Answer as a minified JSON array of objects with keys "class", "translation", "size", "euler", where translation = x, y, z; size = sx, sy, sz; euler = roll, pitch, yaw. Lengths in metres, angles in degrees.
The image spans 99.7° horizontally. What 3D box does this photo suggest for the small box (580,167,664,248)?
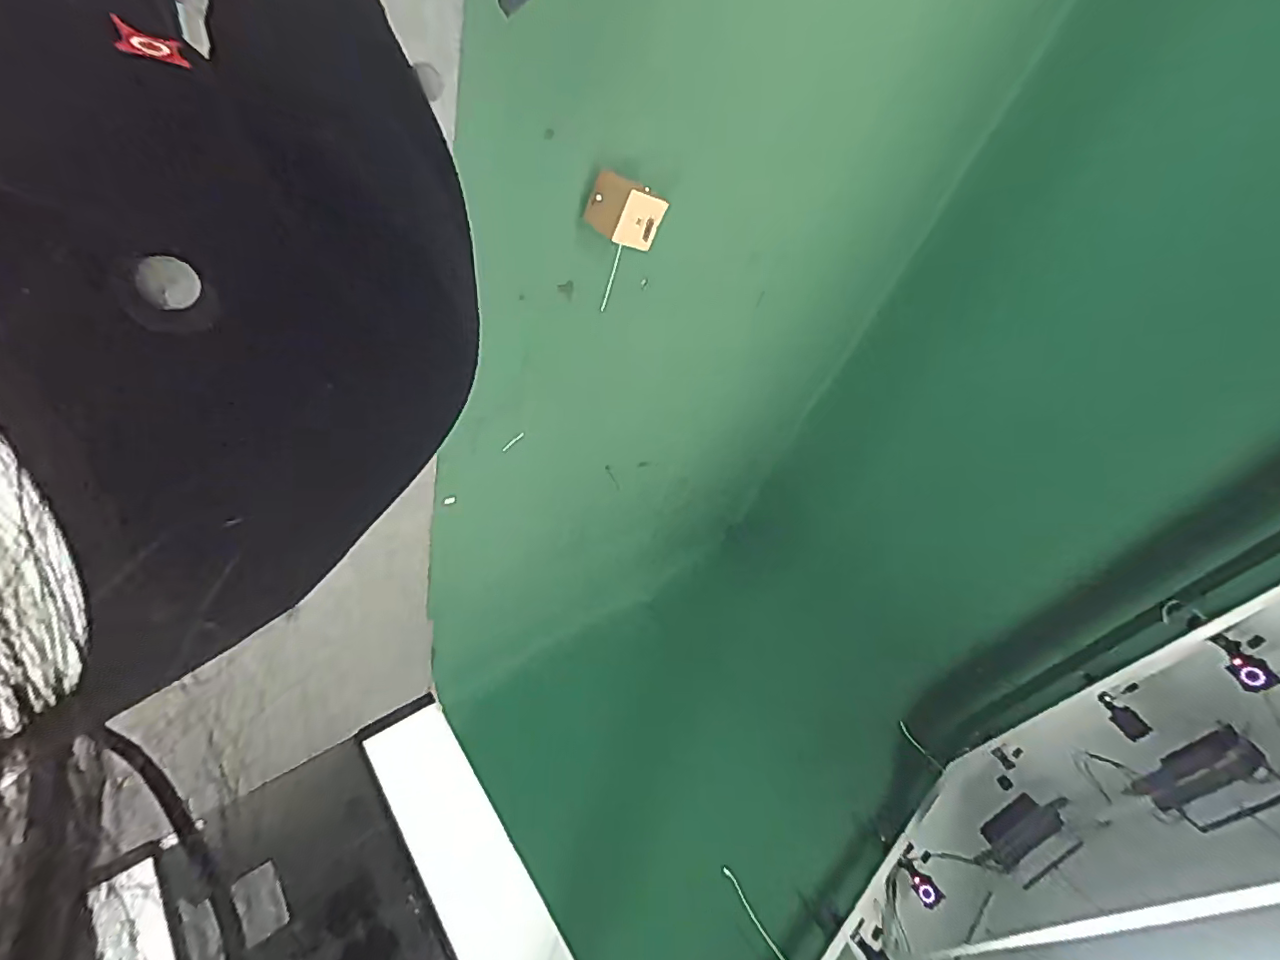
[{"class":"small box","translation":[-0.062,-0.888,1.763],"size":[0.179,0.176,0.168],"euler":[-10,139,-47]}]
